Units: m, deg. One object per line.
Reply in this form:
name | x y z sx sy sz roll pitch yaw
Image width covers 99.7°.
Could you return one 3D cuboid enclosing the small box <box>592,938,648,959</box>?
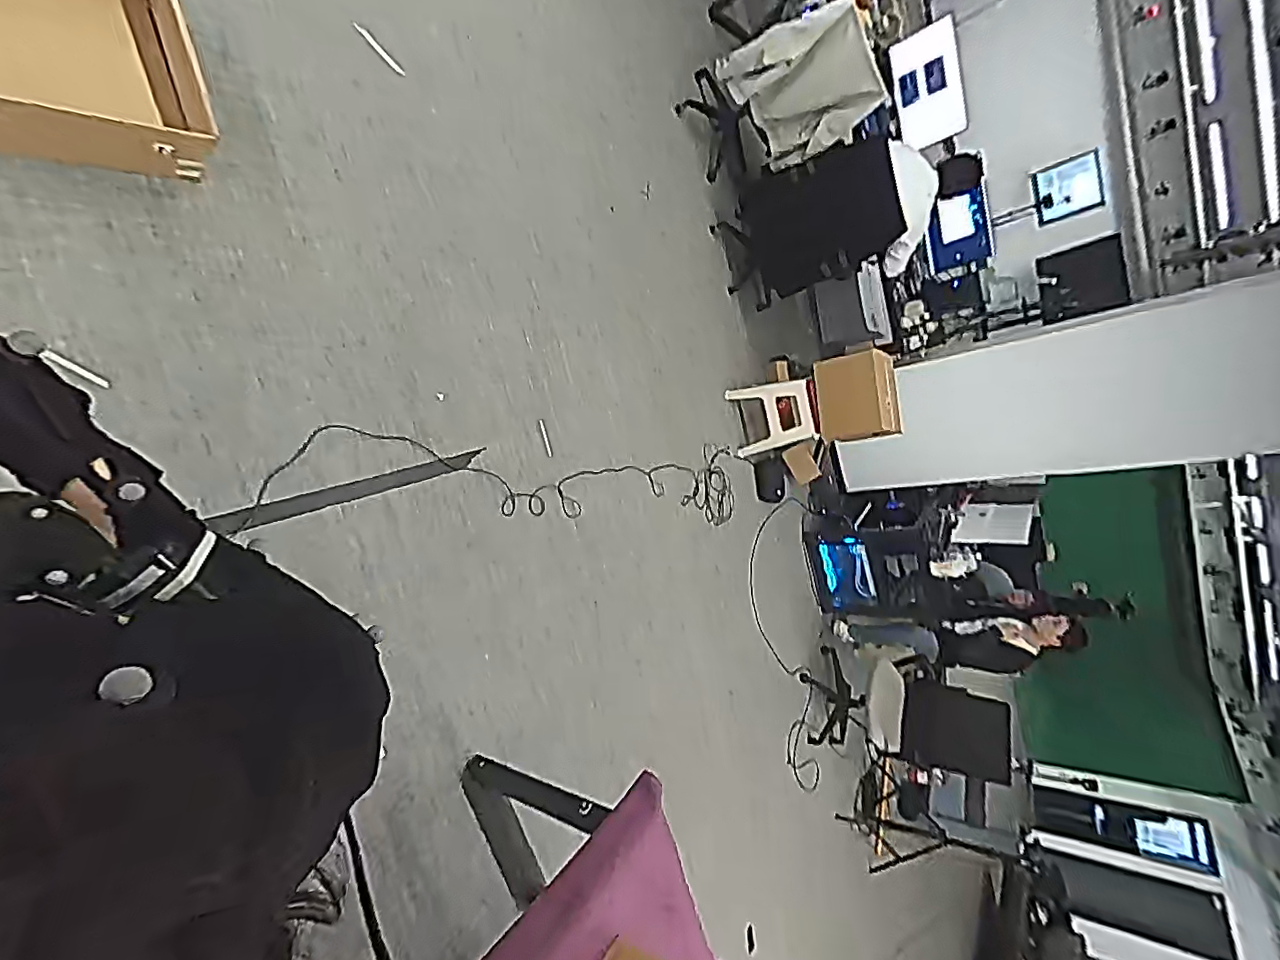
small box | -0.021 1.003 0.988 0.168 0.176 0.179 -30 106 -48
